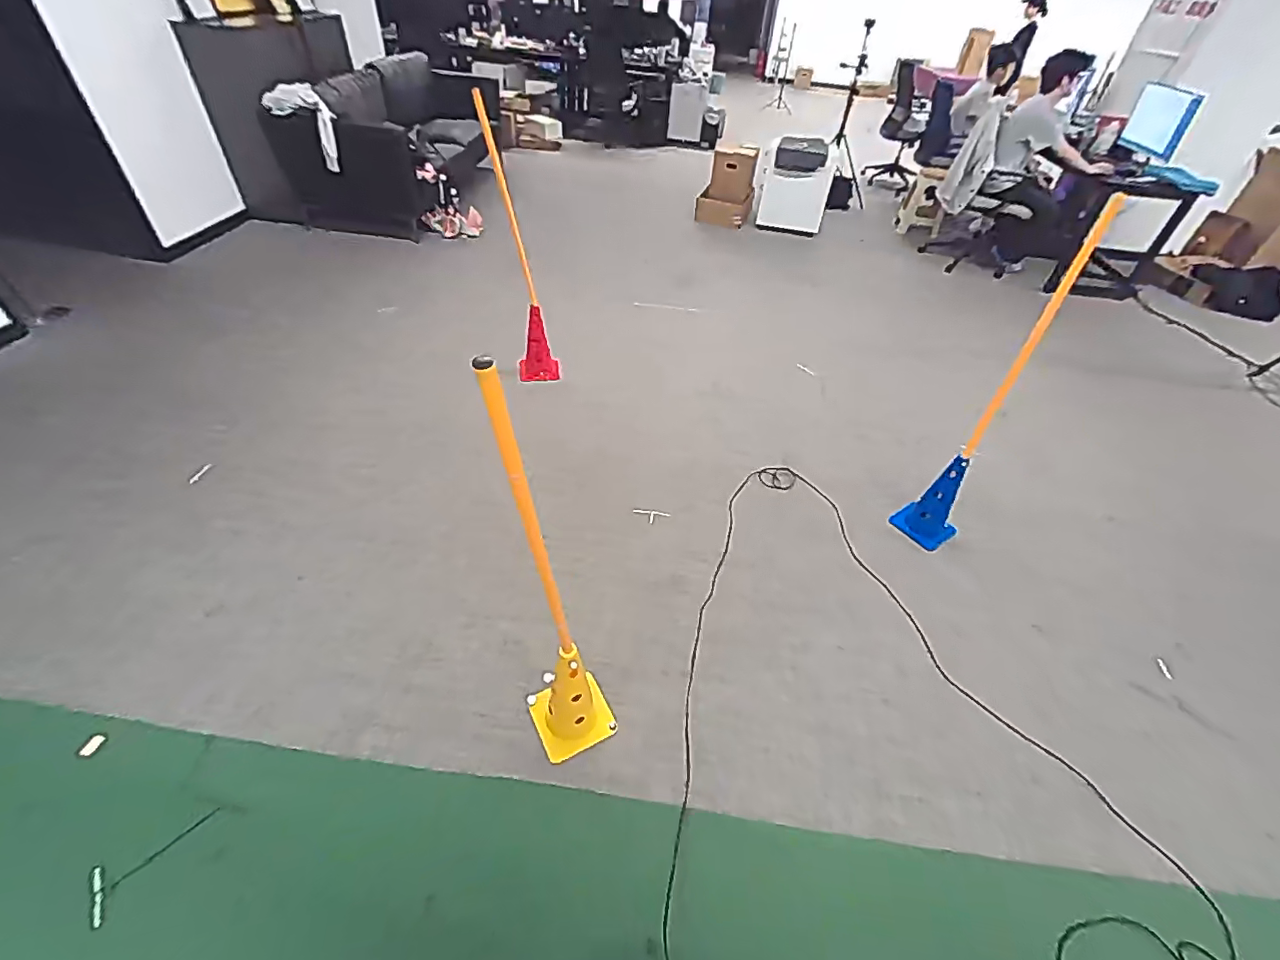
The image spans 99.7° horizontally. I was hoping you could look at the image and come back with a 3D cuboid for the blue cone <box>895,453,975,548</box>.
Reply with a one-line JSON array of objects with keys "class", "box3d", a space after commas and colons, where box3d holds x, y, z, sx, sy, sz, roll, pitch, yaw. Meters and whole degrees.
[{"class": "blue cone", "box3d": [1.129, 0.051, 2.011, 0.193, 0.380, 0.192, -24, 50, -30]}]
